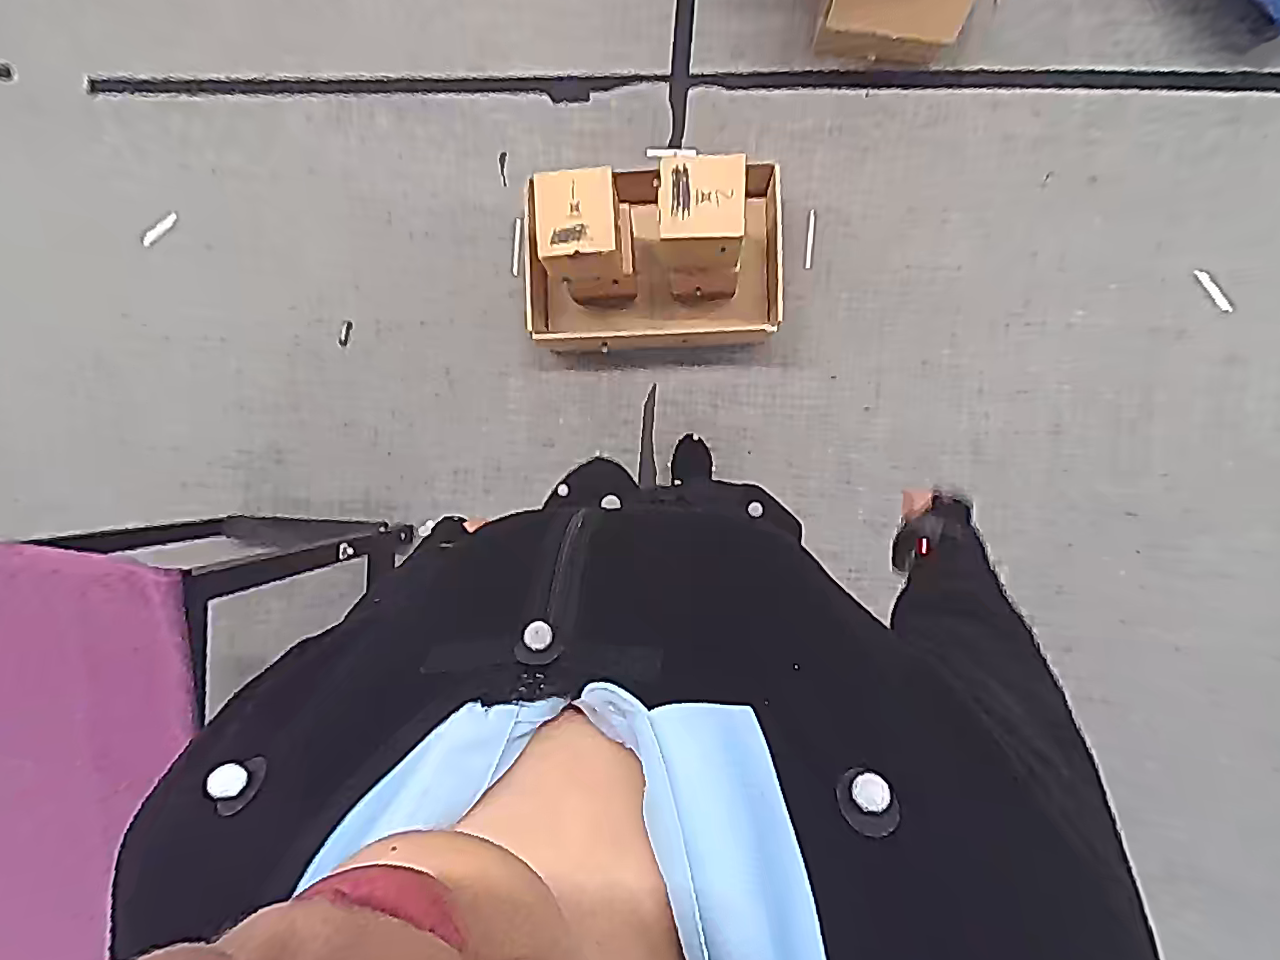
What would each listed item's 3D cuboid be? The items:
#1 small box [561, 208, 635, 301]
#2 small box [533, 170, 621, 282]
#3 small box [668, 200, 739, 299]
[{"bbox_3d":[-0.104,-0.560,1.360,0.179,0.176,0.168,-3,90,3],"label":"small box"},{"bbox_3d":[-0.133,-0.550,1.197,0.168,0.176,0.179,-3,90,3],"label":"small box"},{"bbox_3d":[0.155,-0.564,1.342,0.168,0.176,0.179,-1,91,6],"label":"small box"}]
